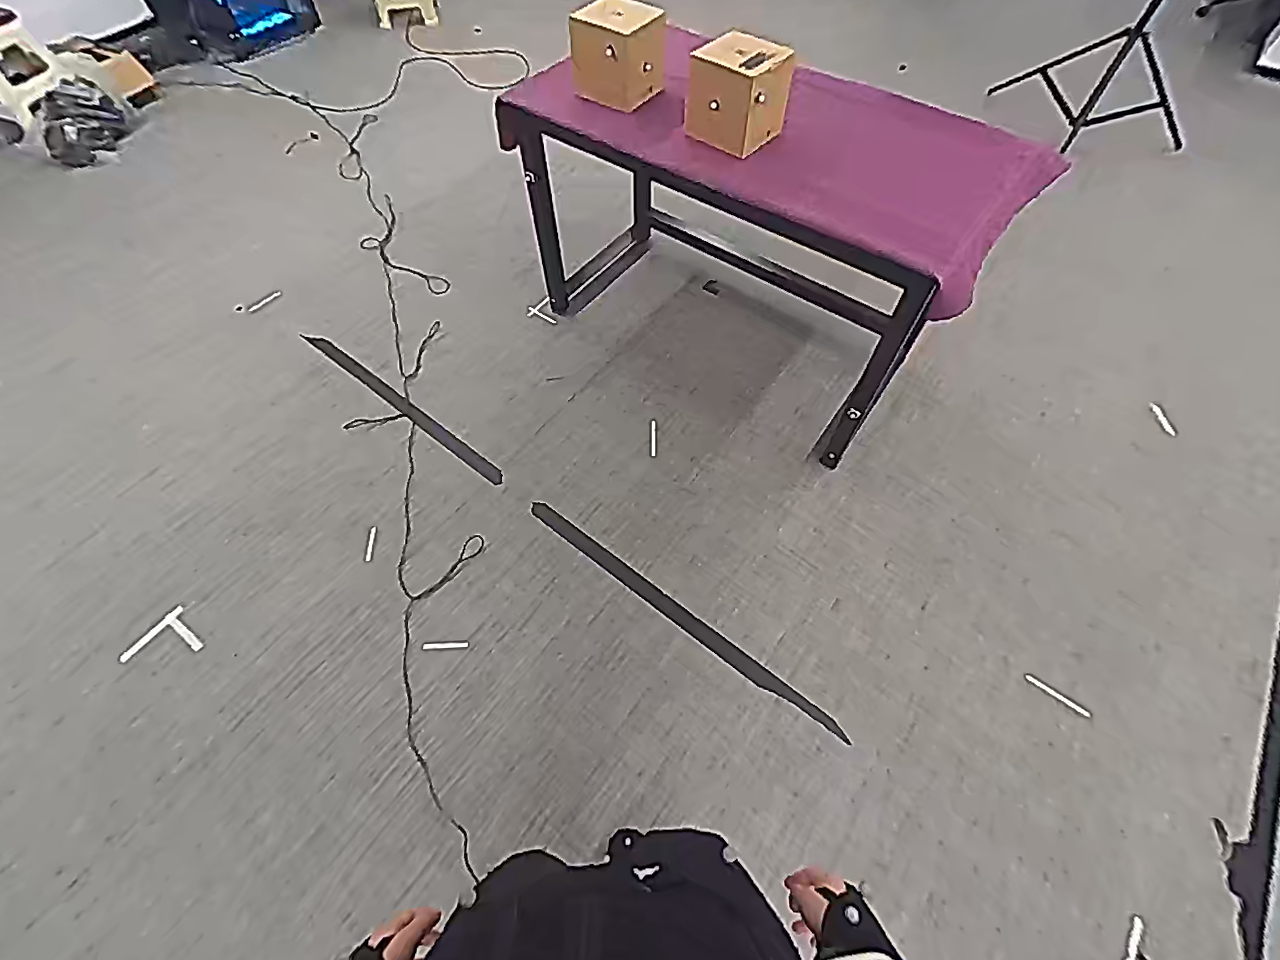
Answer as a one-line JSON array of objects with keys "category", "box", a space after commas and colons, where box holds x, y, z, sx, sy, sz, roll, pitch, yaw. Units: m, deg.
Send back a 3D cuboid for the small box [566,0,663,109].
[{"category": "small box", "box": [-0.059, -1.063, 1.352, 0.179, 0.176, 0.168, 30, 63, 17]}]
